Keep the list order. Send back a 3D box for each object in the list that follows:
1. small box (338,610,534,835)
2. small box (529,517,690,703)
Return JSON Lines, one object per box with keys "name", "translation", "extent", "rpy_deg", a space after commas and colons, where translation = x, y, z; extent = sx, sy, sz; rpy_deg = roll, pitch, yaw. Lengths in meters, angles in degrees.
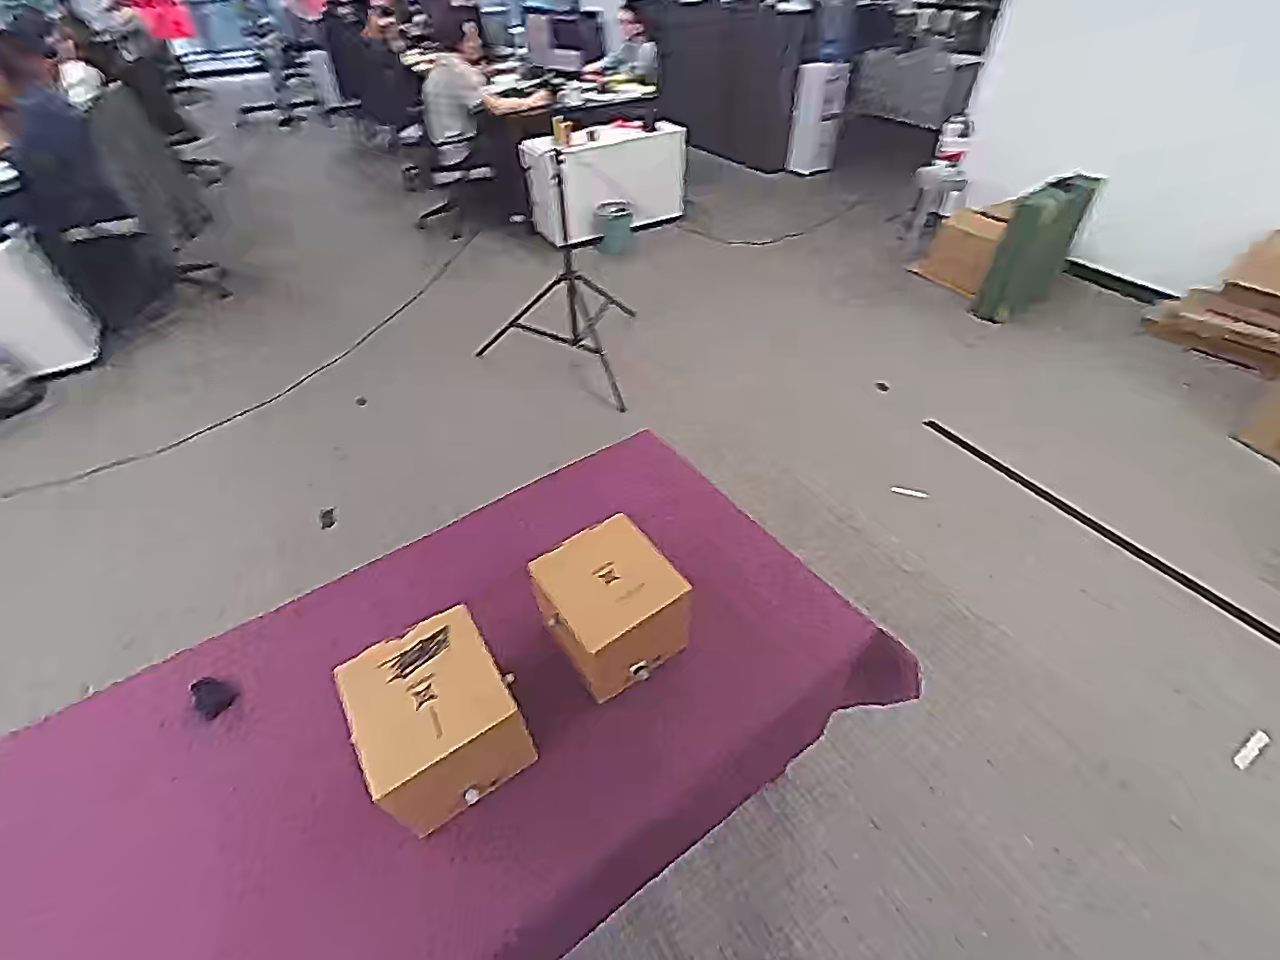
{"name": "small box", "translation": [-0.254, 0.310, 0.696], "extent": [0.168, 0.176, 0.179], "rpy_deg": [-27, 50, -23]}
{"name": "small box", "translation": [-0.044, 0.194, 0.812], "extent": [0.168, 0.176, 0.179], "rpy_deg": [-29, 51, -24]}
